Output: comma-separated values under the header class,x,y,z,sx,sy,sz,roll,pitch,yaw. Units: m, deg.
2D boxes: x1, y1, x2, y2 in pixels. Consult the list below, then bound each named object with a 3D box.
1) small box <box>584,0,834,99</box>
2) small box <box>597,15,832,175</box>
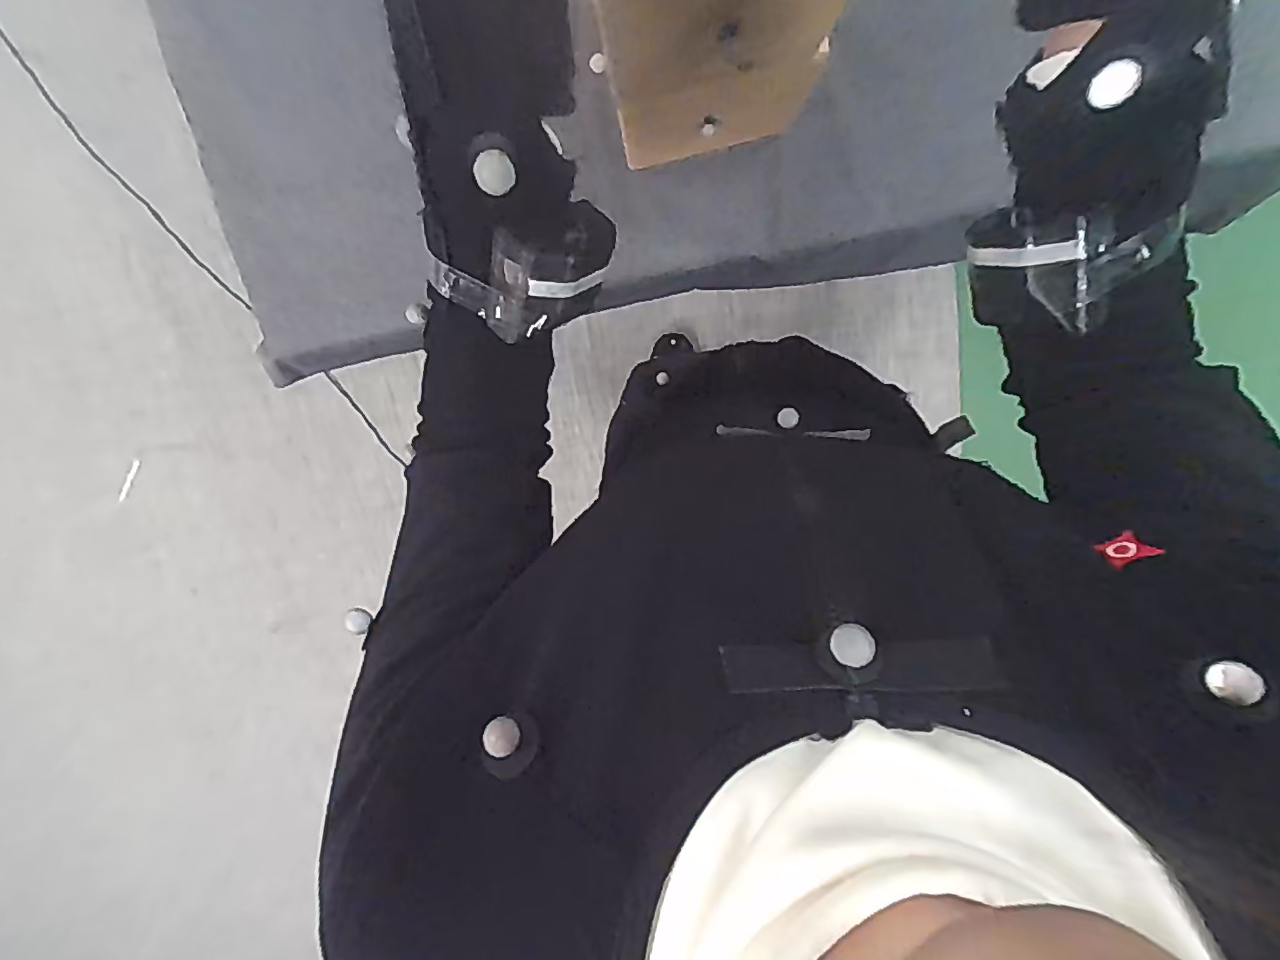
class,x,y,z,sx,sy,sz,roll,pitch,yaw
small box,0.036,-0.376,0.340,0.168,0.176,0.179,-12,104,5
small box,0.052,-0.412,0.499,0.179,0.176,0.168,-15,103,5
